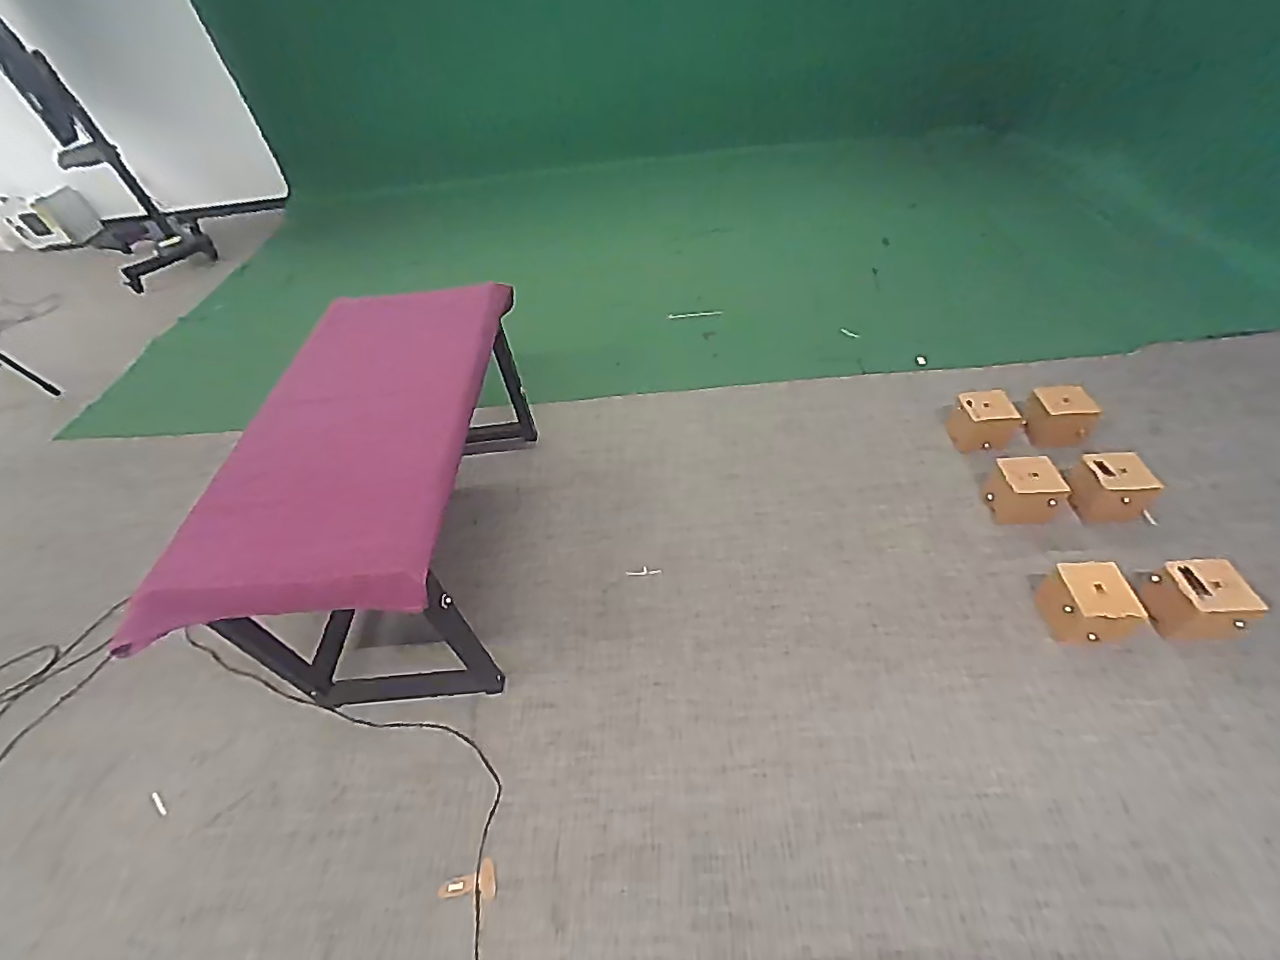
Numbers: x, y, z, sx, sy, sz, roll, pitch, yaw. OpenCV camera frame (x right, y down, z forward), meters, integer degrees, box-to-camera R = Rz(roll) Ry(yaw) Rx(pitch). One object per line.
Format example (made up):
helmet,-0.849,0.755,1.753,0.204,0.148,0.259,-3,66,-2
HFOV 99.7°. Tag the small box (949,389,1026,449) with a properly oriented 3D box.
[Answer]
small box,1.347,-0.236,2.108,0.179,0.176,0.168,-4,47,4

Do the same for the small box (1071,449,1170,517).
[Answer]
small box,1.616,0.014,1.839,0.179,0.176,0.168,-3,48,6

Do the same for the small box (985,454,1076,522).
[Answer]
small box,1.340,0.030,1.868,0.179,0.176,0.168,-3,47,6

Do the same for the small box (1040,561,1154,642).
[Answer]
small box,1.320,0.355,1.580,0.168,0.176,0.179,-3,48,6
